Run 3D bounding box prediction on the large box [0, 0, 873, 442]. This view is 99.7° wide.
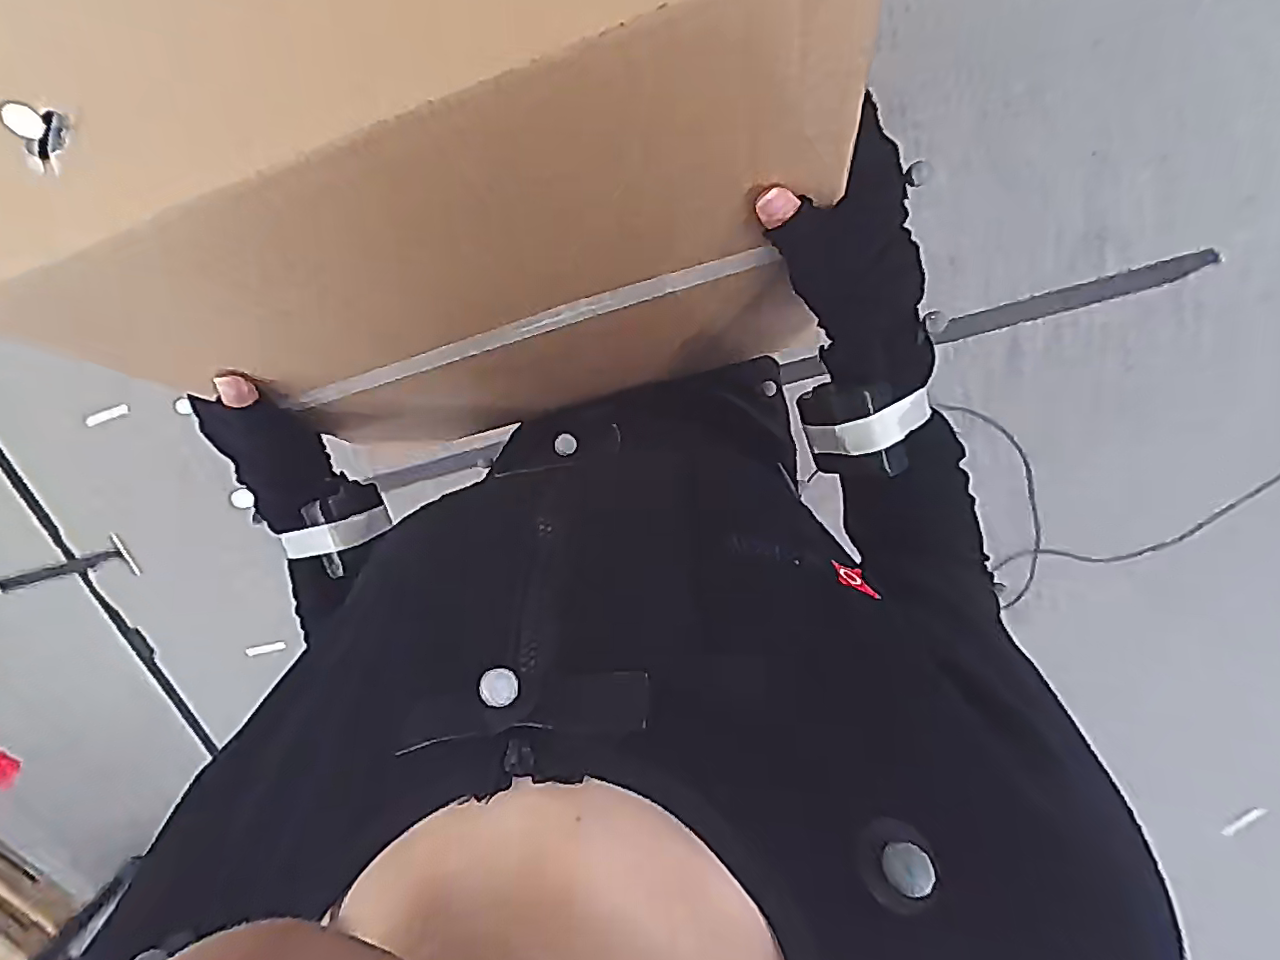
[{"bbox_3d":[-0.106,-0.251,0.382,0.408,0.320,0.320,-13,79,10],"label":"large box"}]
